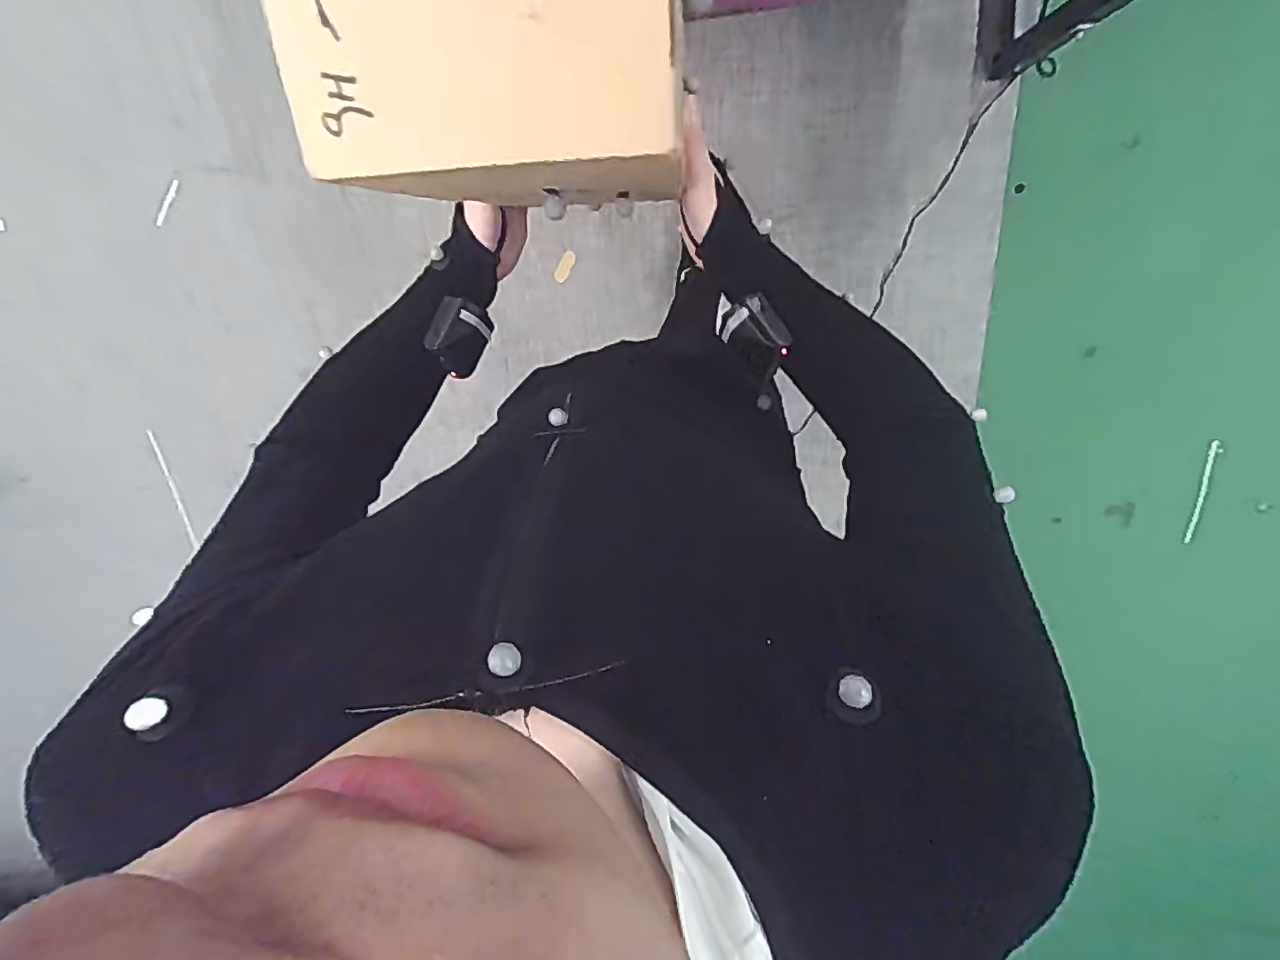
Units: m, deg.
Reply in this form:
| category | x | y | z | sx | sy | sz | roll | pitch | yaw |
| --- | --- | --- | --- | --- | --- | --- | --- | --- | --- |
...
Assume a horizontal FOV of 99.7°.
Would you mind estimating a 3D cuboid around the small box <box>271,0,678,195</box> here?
| category | x | y | z | sx | sy | sz | roll | pitch | yaw |
| --- | --- | --- | --- | --- | --- | --- | --- | --- | --- |
| small box | -0.068 | -0.255 | 0.292 | 0.179 | 0.176 | 0.168 | -1 | 114 | 6 |

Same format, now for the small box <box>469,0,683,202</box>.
| category | x | y | z | sx | sy | sz | roll | pitch | yaw |
| --- | --- | --- | --- | --- | --- | --- | --- | --- | --- |
| small box | -0.053 | -0.325 | 0.440 | 0.179 | 0.176 | 0.168 | 0 | 114 | 6 |
